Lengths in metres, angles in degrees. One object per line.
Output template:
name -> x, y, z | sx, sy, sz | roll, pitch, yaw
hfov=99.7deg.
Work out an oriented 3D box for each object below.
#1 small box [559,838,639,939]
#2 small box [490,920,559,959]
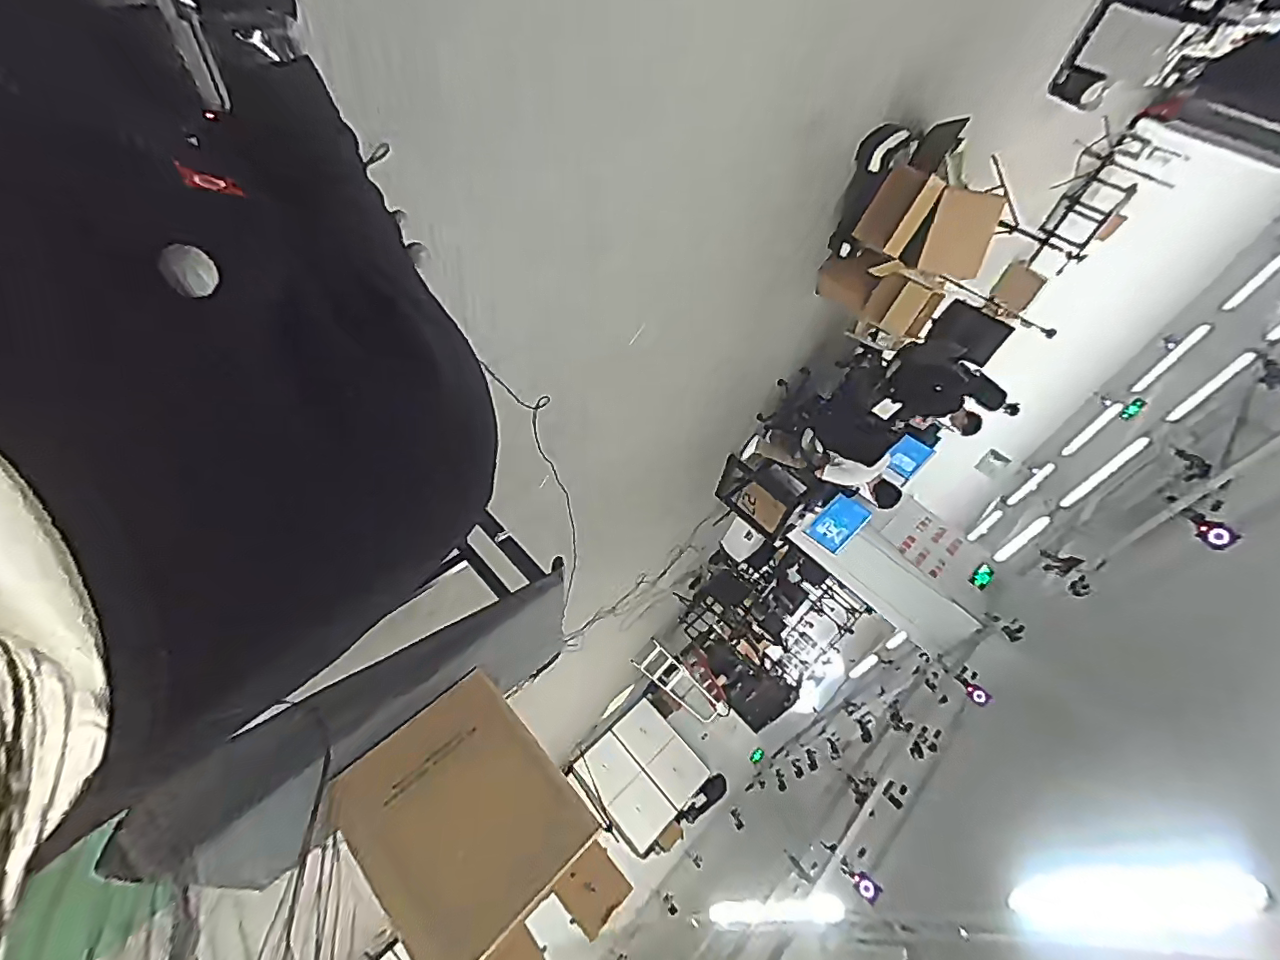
small box -> -0.123, 1.184, 1.574 | 0.168, 0.176, 0.179 | -36, 152, -31
small box -> -0.308, 1.314, 1.437 | 0.168, 0.176, 0.179 | -34, 153, -30
